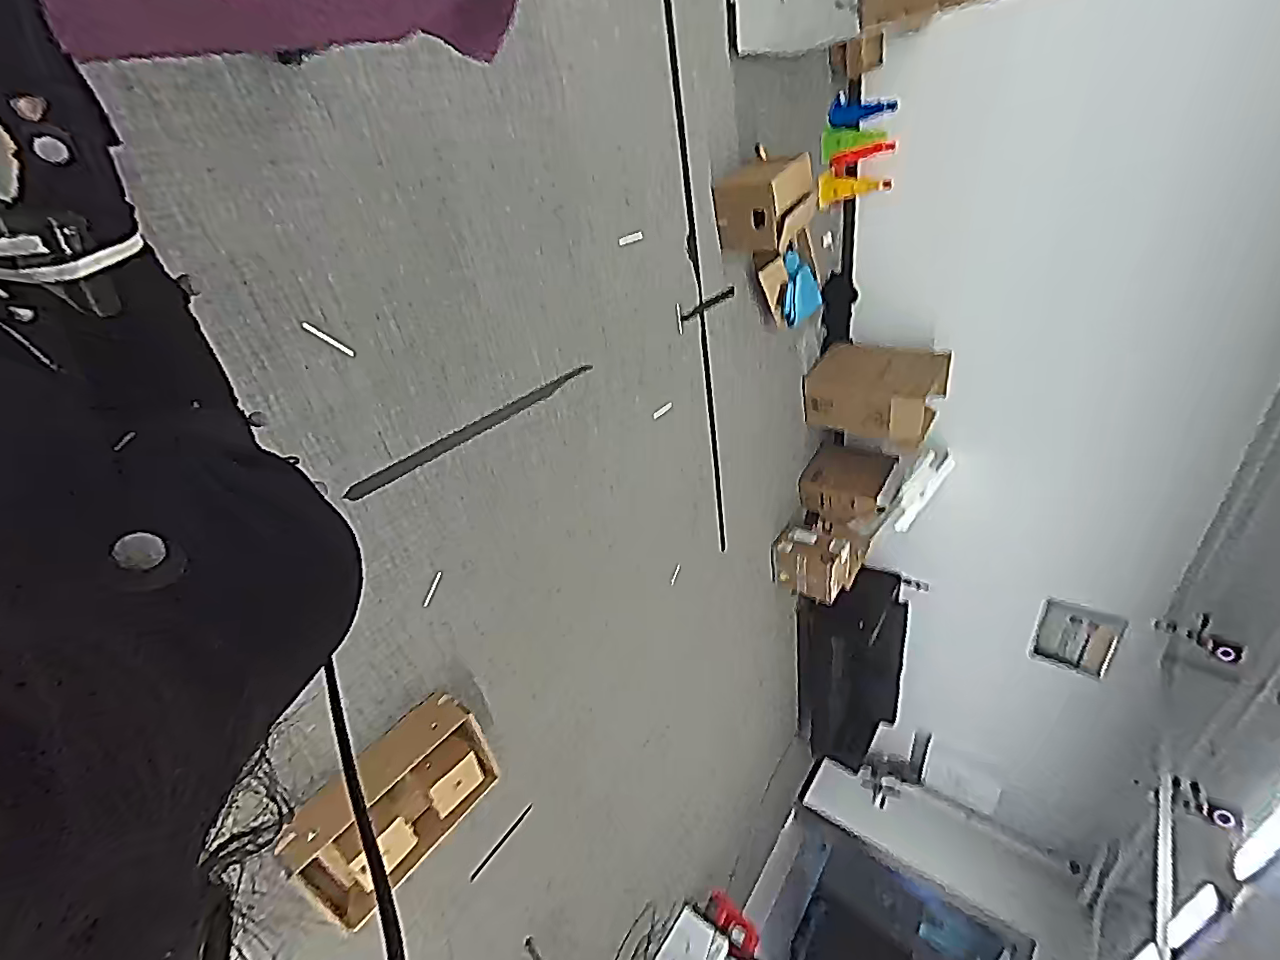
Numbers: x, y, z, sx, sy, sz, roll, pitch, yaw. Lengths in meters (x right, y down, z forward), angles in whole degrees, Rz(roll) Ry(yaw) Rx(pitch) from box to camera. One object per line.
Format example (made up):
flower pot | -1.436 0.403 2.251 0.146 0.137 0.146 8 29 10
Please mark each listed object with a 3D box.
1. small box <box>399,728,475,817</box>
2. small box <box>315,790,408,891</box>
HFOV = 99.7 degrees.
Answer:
small box | -0.714 1.013 1.885 0.179 0.176 0.168 -35 130 -42
small box | -0.879 1.129 1.708 0.179 0.176 0.168 -39 131 -43
